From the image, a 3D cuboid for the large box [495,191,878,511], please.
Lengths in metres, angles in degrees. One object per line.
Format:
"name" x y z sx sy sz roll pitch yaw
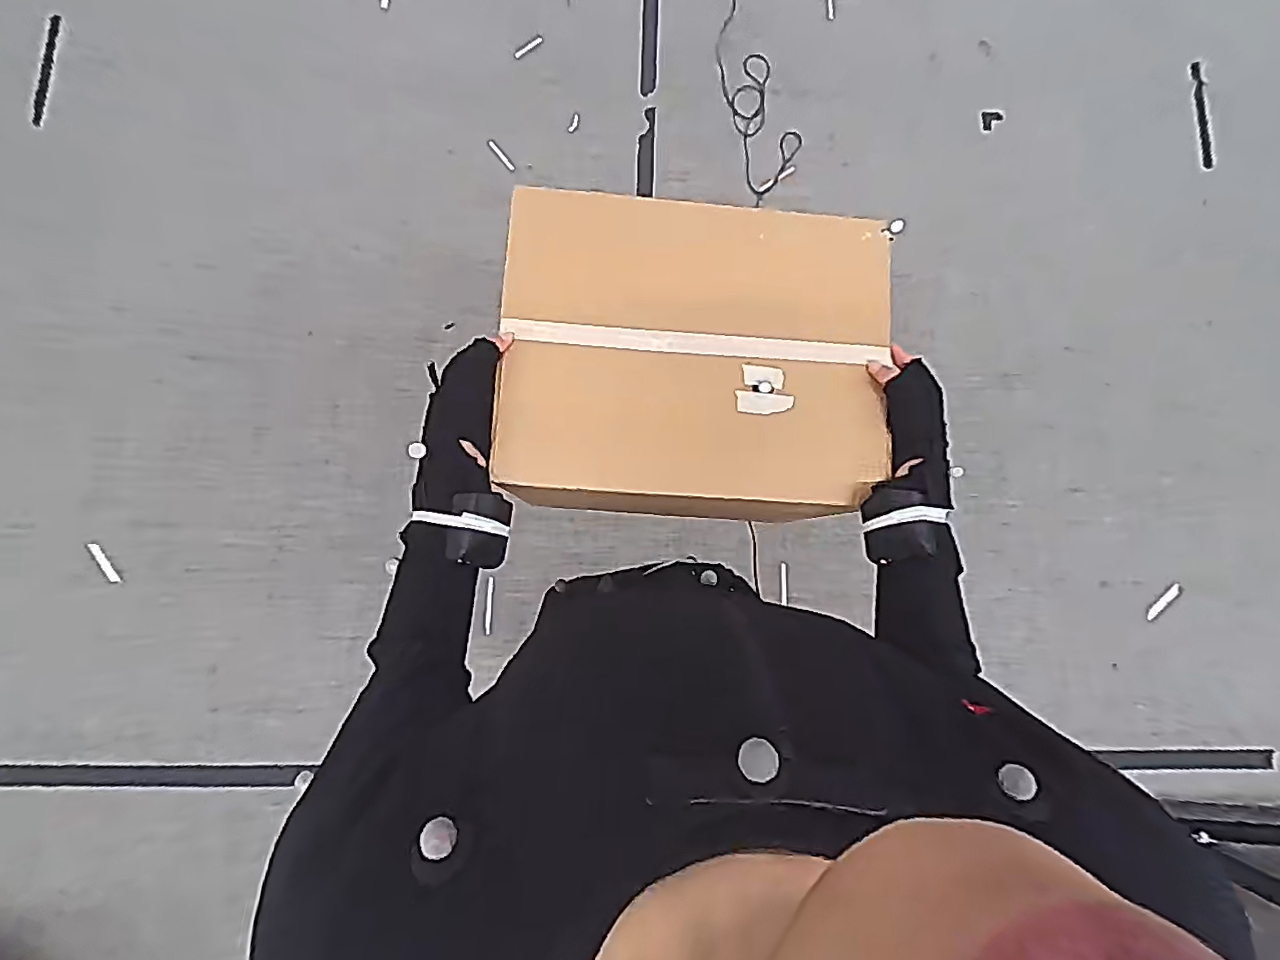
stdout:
"large box" 0.044 -0.129 0.717 0.408 0.320 0.320 4 84 -4
